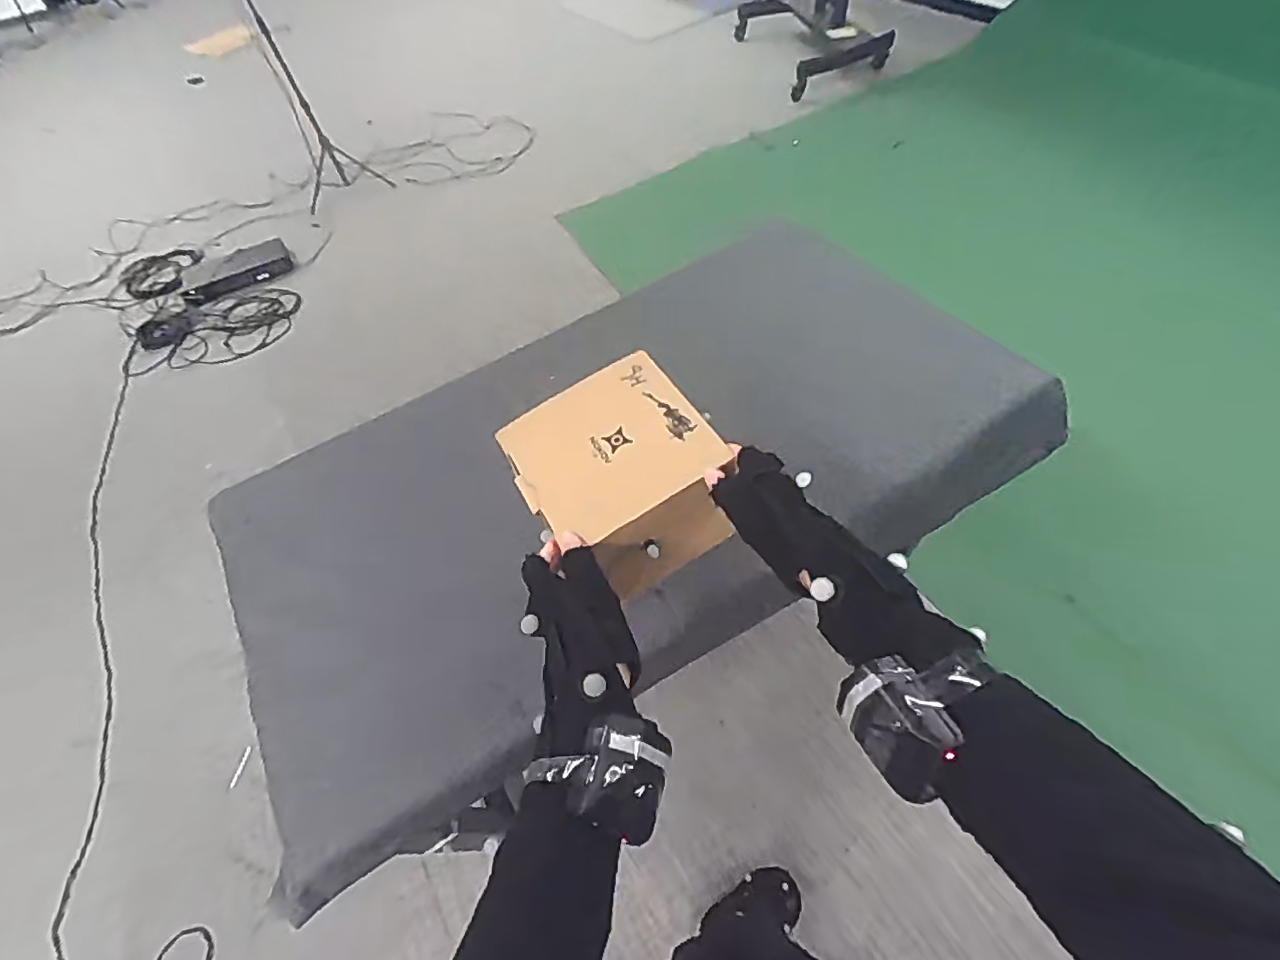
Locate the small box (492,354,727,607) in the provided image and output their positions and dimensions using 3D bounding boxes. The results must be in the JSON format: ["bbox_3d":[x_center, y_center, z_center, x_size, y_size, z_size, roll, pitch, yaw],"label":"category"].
[{"bbox_3d":[-0.022,0.009,0.577,0.179,0.176,0.168,-32,60,-7],"label":"small box"}]
